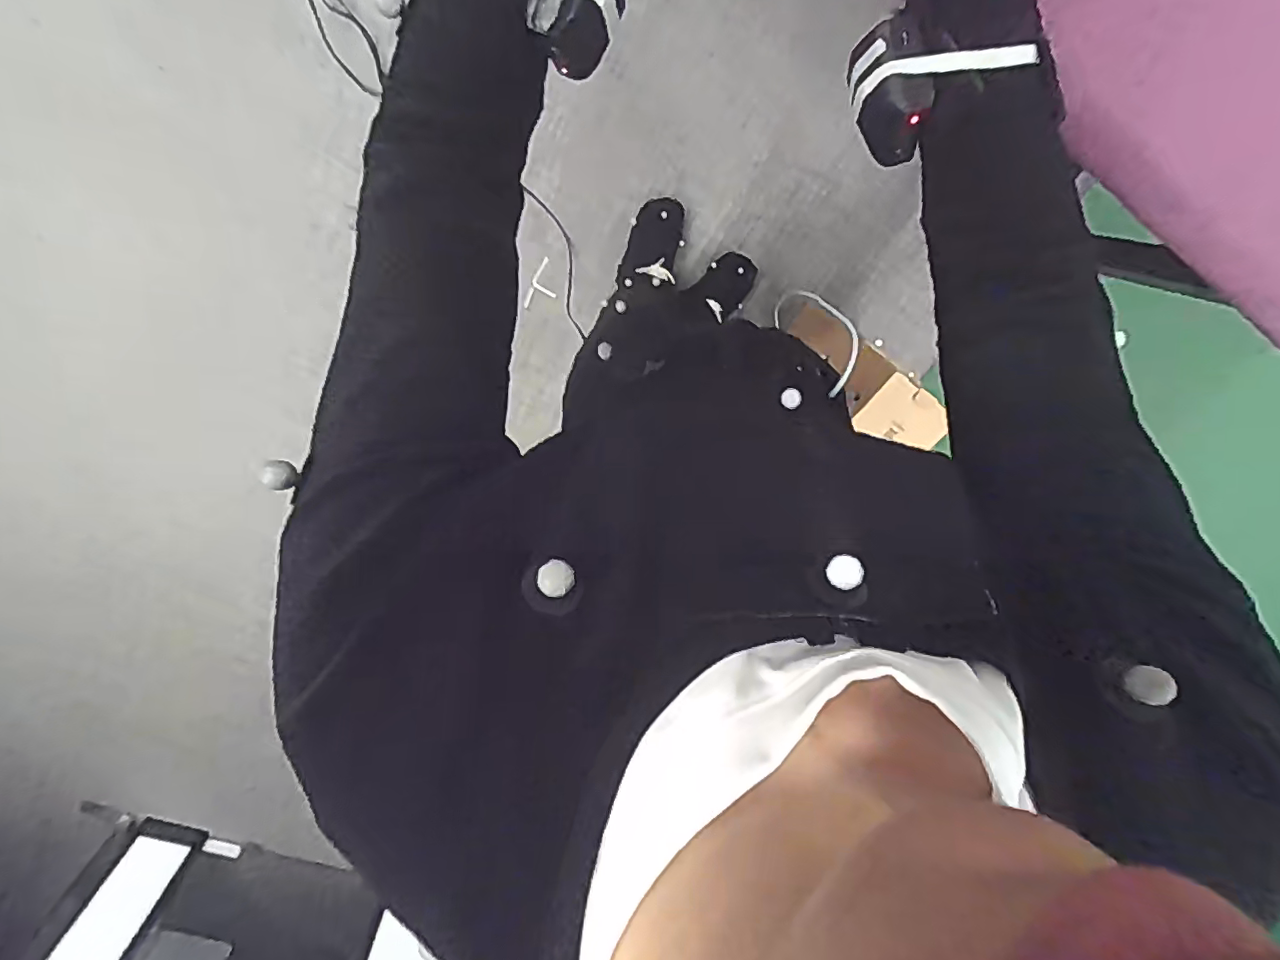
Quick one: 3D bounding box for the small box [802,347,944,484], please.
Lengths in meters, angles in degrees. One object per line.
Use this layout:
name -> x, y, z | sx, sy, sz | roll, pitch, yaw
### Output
small box -> 0.442, -0.131, 1.067 | 0.168, 0.176, 0.179 | 30, 115, -17

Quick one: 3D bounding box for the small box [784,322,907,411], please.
small box -> 0.442, -0.220, 1.202 | 0.168, 0.176, 0.179 | 31, 115, -17
